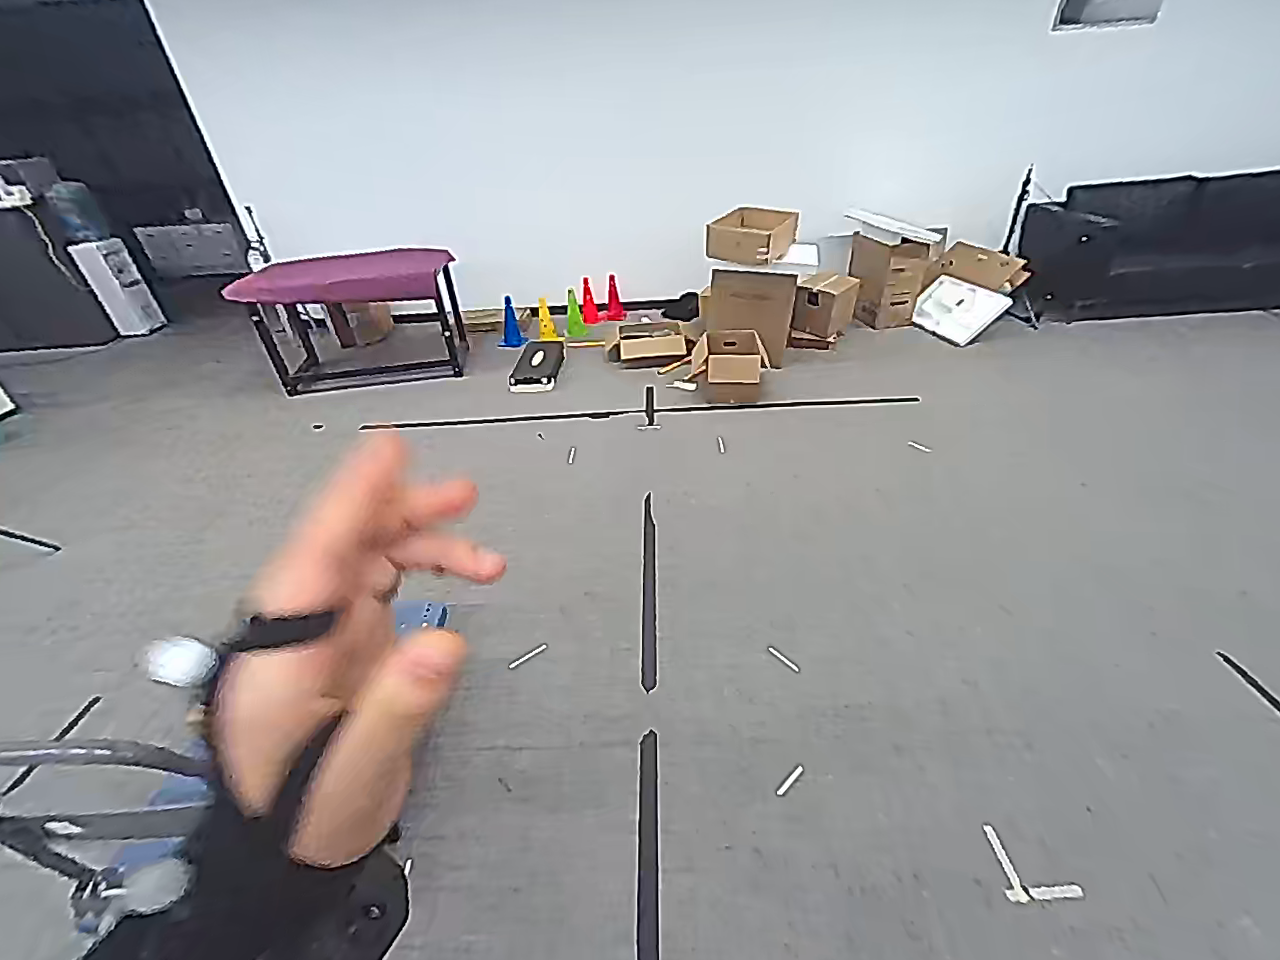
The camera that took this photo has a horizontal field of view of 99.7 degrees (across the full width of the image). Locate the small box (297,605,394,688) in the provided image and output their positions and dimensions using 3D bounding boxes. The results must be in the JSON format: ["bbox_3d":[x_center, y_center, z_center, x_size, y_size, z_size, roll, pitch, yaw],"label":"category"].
[{"bbox_3d":[-0.857,0.494,1.594,0.179,0.176,0.168,-5,35,-2],"label":"small box"}]

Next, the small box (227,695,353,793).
[{"bbox_3d":[-0.863,0.661,1.351,0.179,0.176,0.168,-1,36,3],"label":"small box"}]
